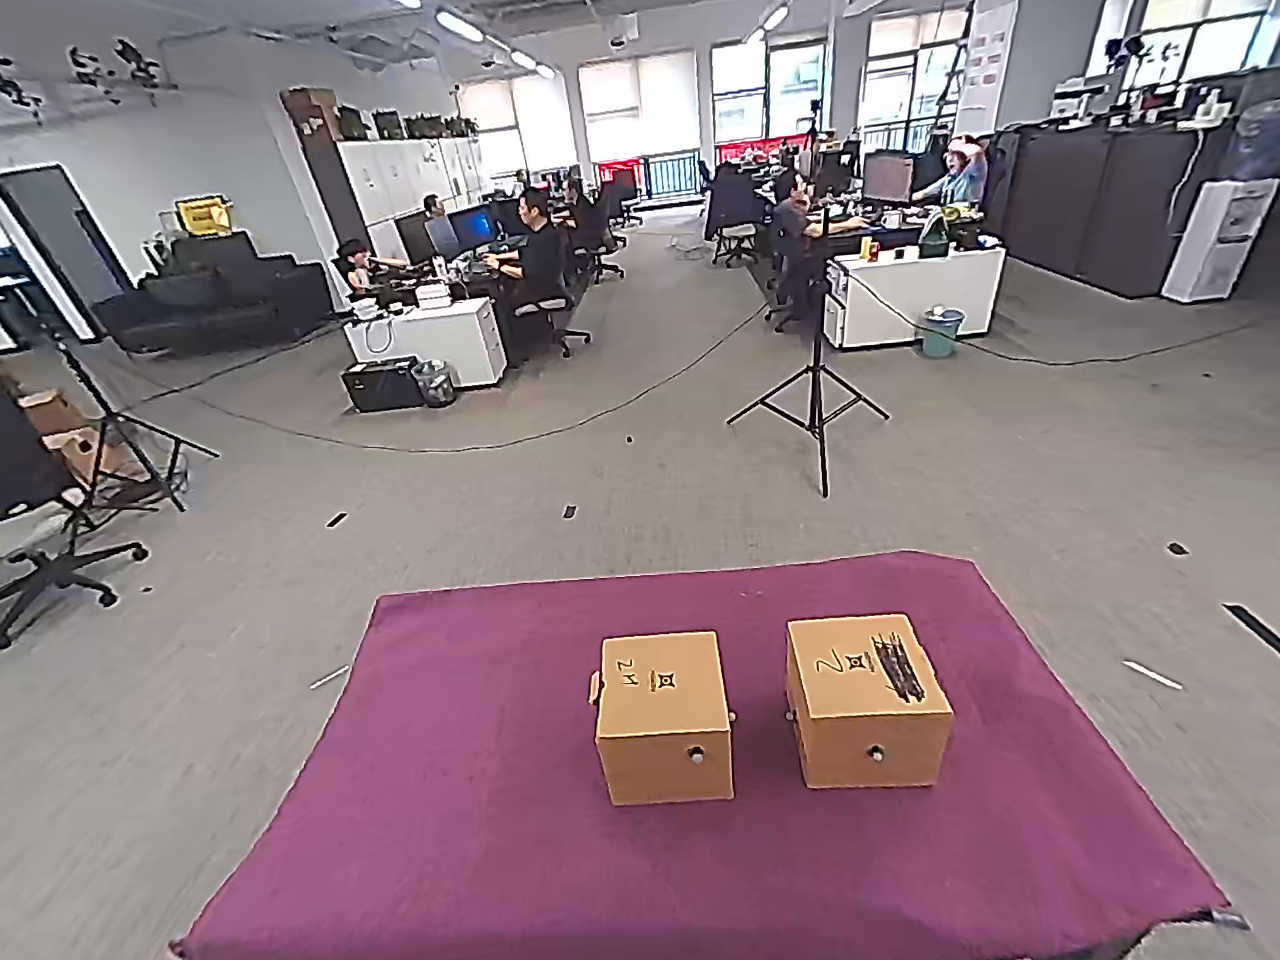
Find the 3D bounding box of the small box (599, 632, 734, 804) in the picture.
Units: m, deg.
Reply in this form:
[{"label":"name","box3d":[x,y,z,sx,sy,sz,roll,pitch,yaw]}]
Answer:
[{"label":"small box","box3d":[0.042,0.350,0.799,0.179,0.176,0.168,-6,32,4]}]
